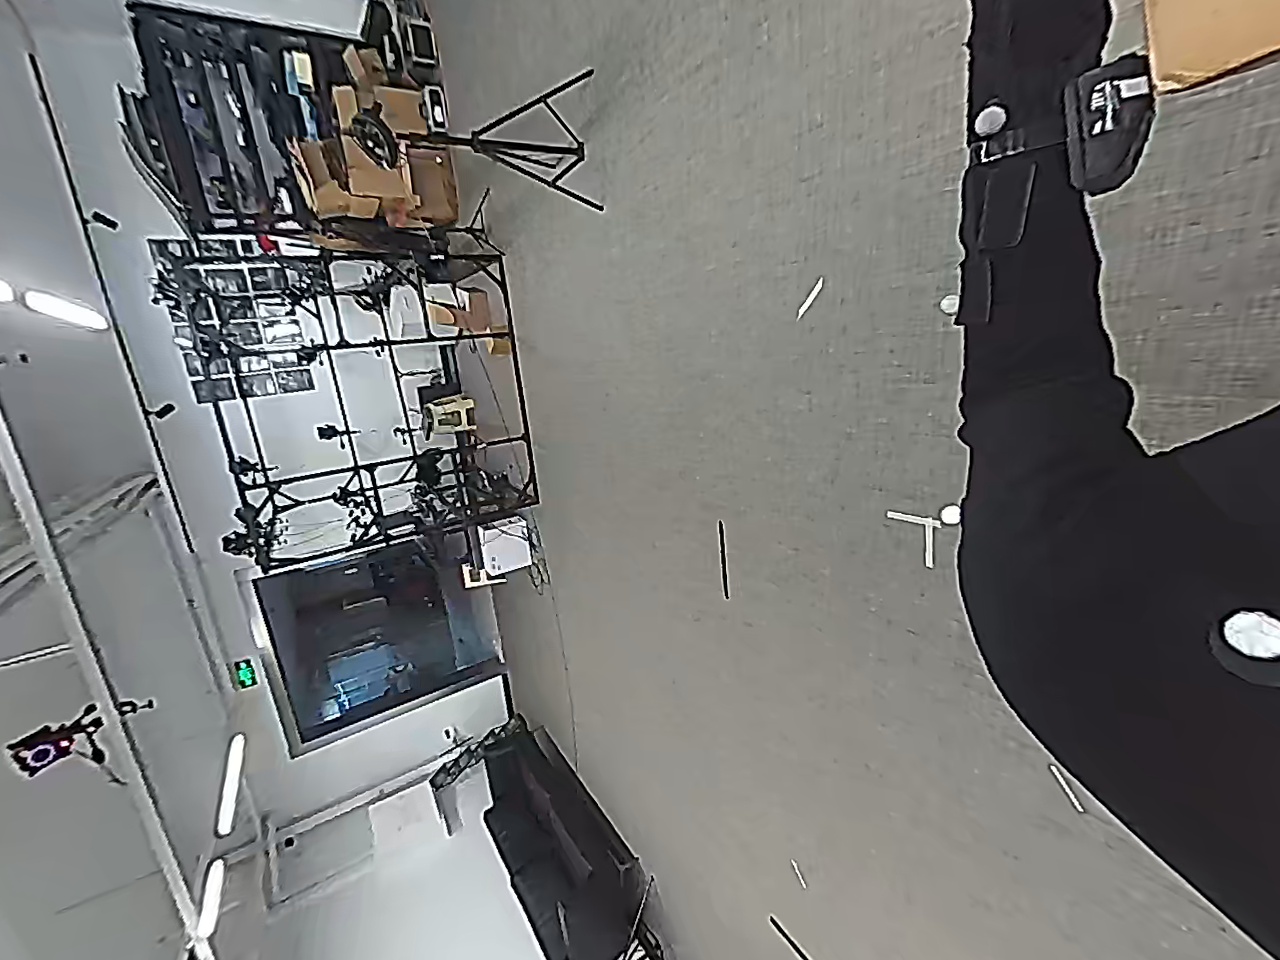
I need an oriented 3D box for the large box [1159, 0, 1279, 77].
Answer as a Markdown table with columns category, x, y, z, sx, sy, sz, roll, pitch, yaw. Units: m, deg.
| category | x | y | z | sx | sy | sz | roll | pitch | yaw |
| --- | --- | --- | --- | --- | --- | --- | --- | --- | --- |
| large box | 0.451 | -0.410 | 0.158 | 0.408 | 0.320 | 0.320 | 3 | 119 | 59 |
